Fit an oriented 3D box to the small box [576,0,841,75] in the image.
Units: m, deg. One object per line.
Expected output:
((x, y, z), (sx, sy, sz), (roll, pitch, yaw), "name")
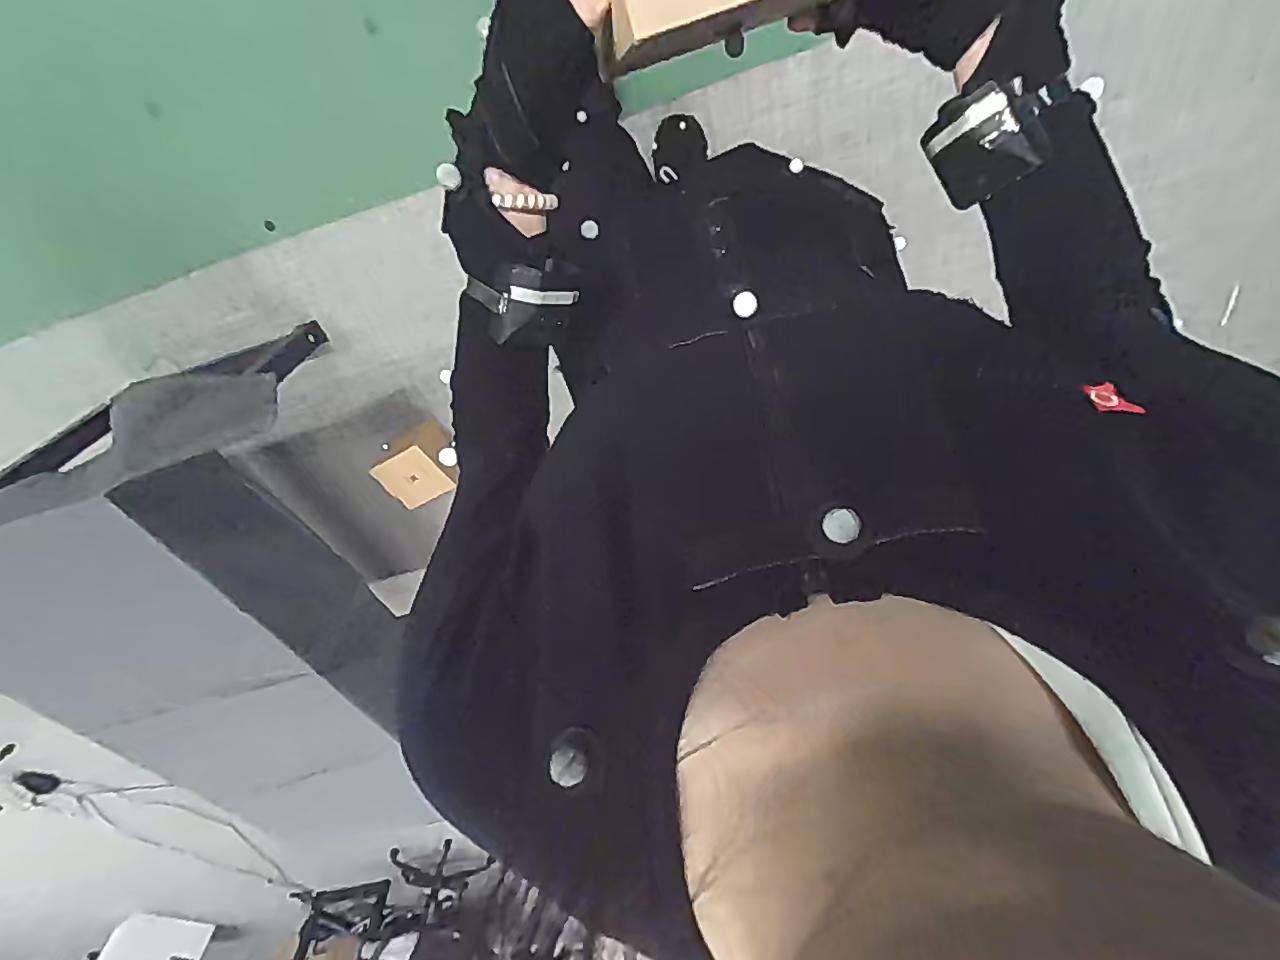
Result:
((0.037, -0.340, 0.284), (0.168, 0.176, 0.179), (-18, 122, 1), "small box")

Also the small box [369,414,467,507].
((-0.626, -0.058, 1.550), (0.179, 0.176, 0.168), (-24, 126, 16), "small box")
